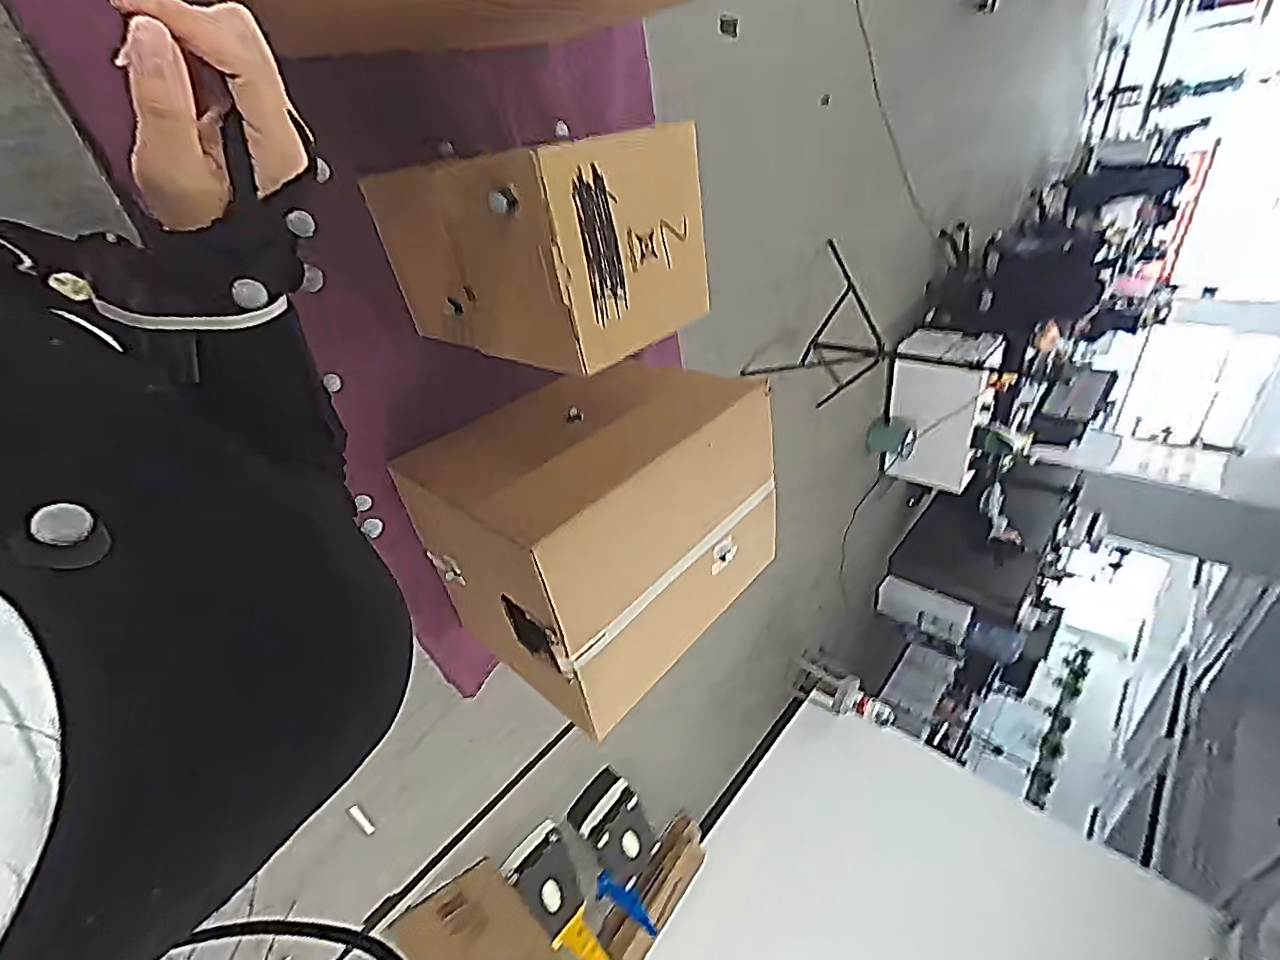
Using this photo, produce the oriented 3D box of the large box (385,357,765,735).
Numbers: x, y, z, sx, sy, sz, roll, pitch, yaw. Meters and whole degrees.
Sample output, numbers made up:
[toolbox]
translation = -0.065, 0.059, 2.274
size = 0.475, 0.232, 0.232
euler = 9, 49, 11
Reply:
[large box]
translation = -0.064, 0.051, 0.778
size = 0.408, 0.320, 0.320
euler = -36, 132, -35
